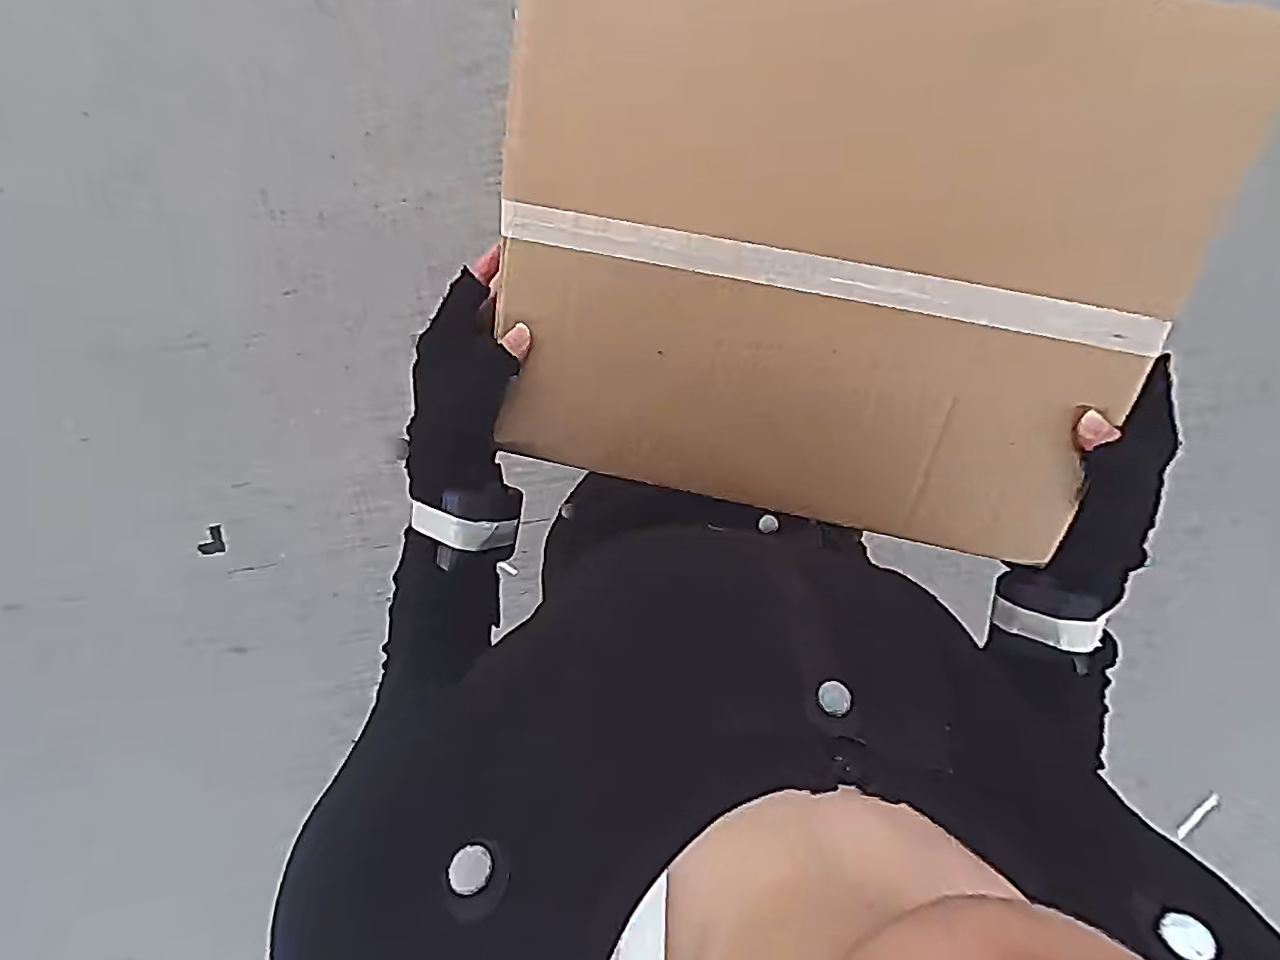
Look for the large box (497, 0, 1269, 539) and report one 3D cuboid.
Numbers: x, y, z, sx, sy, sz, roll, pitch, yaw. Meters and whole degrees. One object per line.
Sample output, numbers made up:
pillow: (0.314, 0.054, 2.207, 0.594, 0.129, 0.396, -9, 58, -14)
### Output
large box: (0.125, -0.184, 0.482, 0.408, 0.320, 0.320, 12, 112, 3)
